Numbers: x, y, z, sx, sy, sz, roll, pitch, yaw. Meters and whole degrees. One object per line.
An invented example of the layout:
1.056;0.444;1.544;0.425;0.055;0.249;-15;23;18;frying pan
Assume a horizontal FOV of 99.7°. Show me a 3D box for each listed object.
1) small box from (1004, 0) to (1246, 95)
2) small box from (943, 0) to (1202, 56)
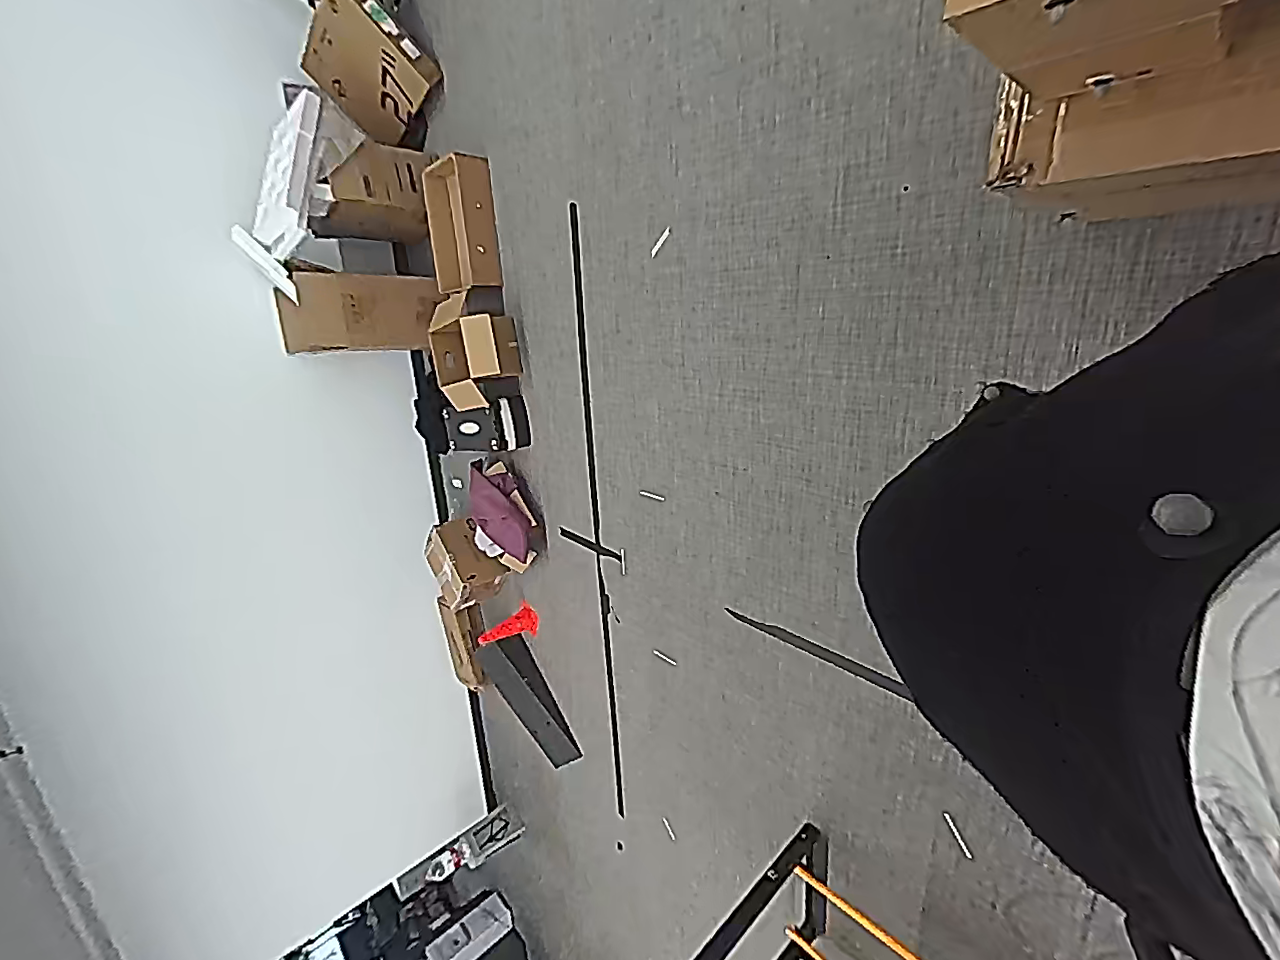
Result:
0.493;-0.520;0.536;0.168;0.176;0.179;17;118;46;small box
0.374;-0.477;0.430;0.179;0.176;0.168;16;116;45;small box
